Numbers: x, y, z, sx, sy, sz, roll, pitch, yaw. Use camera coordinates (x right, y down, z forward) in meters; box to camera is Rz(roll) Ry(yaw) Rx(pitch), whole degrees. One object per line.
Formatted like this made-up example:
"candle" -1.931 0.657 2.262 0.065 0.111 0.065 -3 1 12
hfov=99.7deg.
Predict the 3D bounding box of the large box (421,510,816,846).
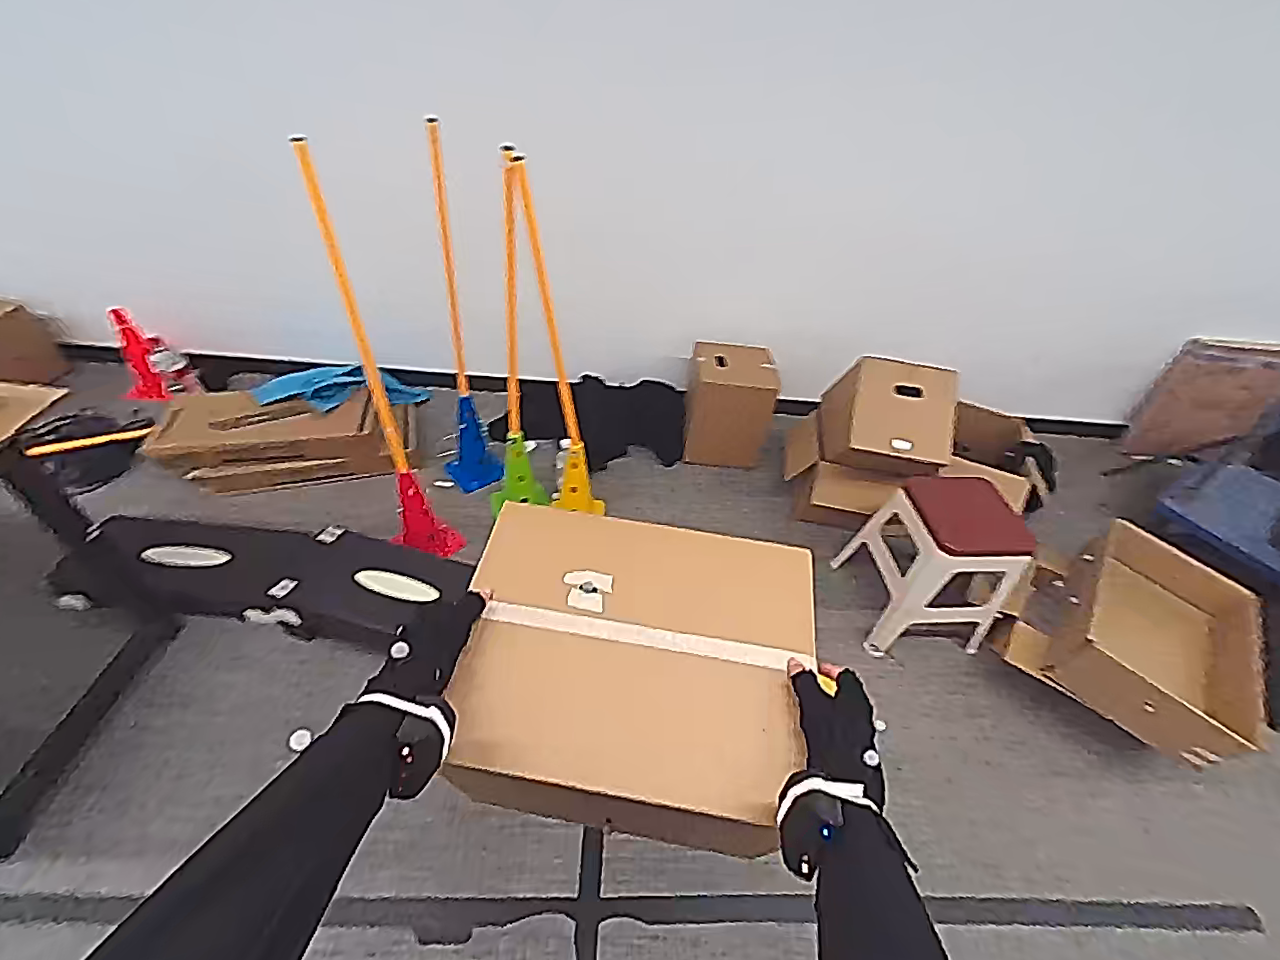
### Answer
"large box" -0.007 0.276 0.738 0.408 0.320 0.320 9 51 5
